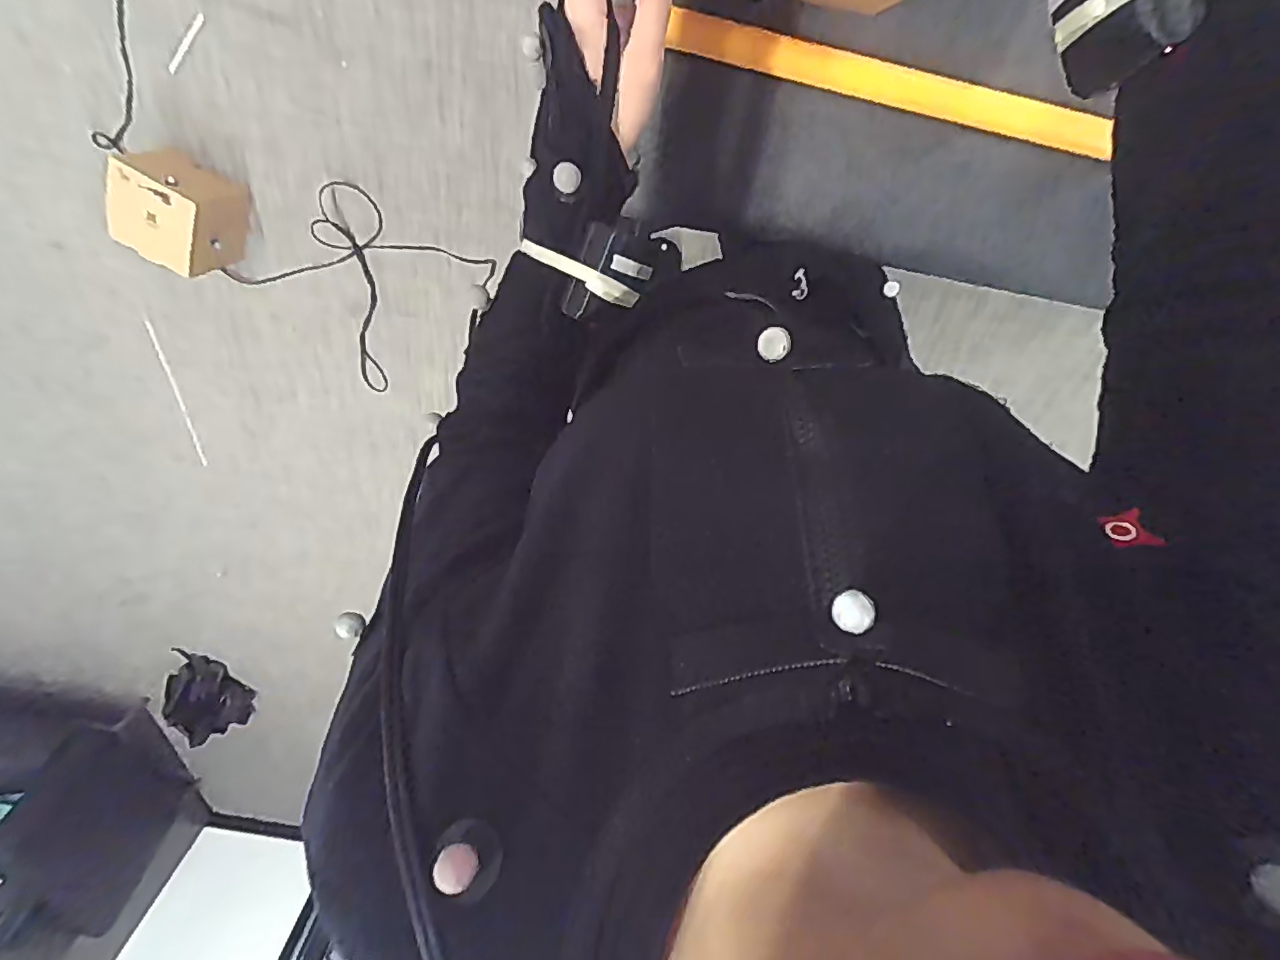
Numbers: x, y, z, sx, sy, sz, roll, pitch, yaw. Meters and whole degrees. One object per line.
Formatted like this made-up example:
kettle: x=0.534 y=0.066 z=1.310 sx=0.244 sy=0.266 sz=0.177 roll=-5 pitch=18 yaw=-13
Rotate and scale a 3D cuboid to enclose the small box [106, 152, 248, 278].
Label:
small box: x=-0.991 y=-0.575 z=1.168 sx=0.168 sy=0.176 sz=0.179 roll=29 pitch=122 yaw=-13
